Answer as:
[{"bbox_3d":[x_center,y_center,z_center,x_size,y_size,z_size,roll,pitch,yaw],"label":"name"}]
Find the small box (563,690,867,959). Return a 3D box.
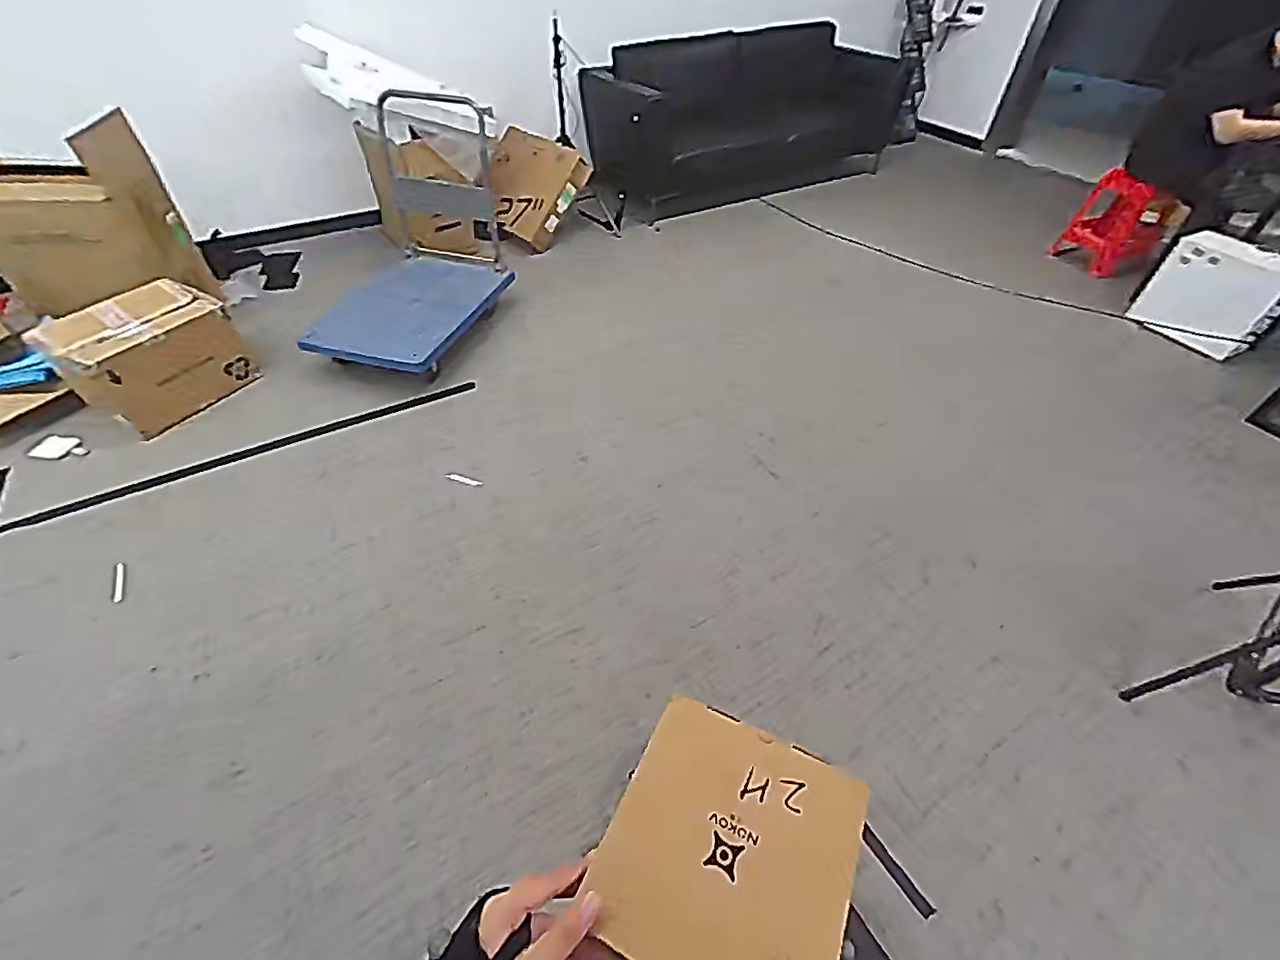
[{"bbox_3d":[0.061,0.313,0.430,0.168,0.176,0.179,19,45,20],"label":"small box"}]
